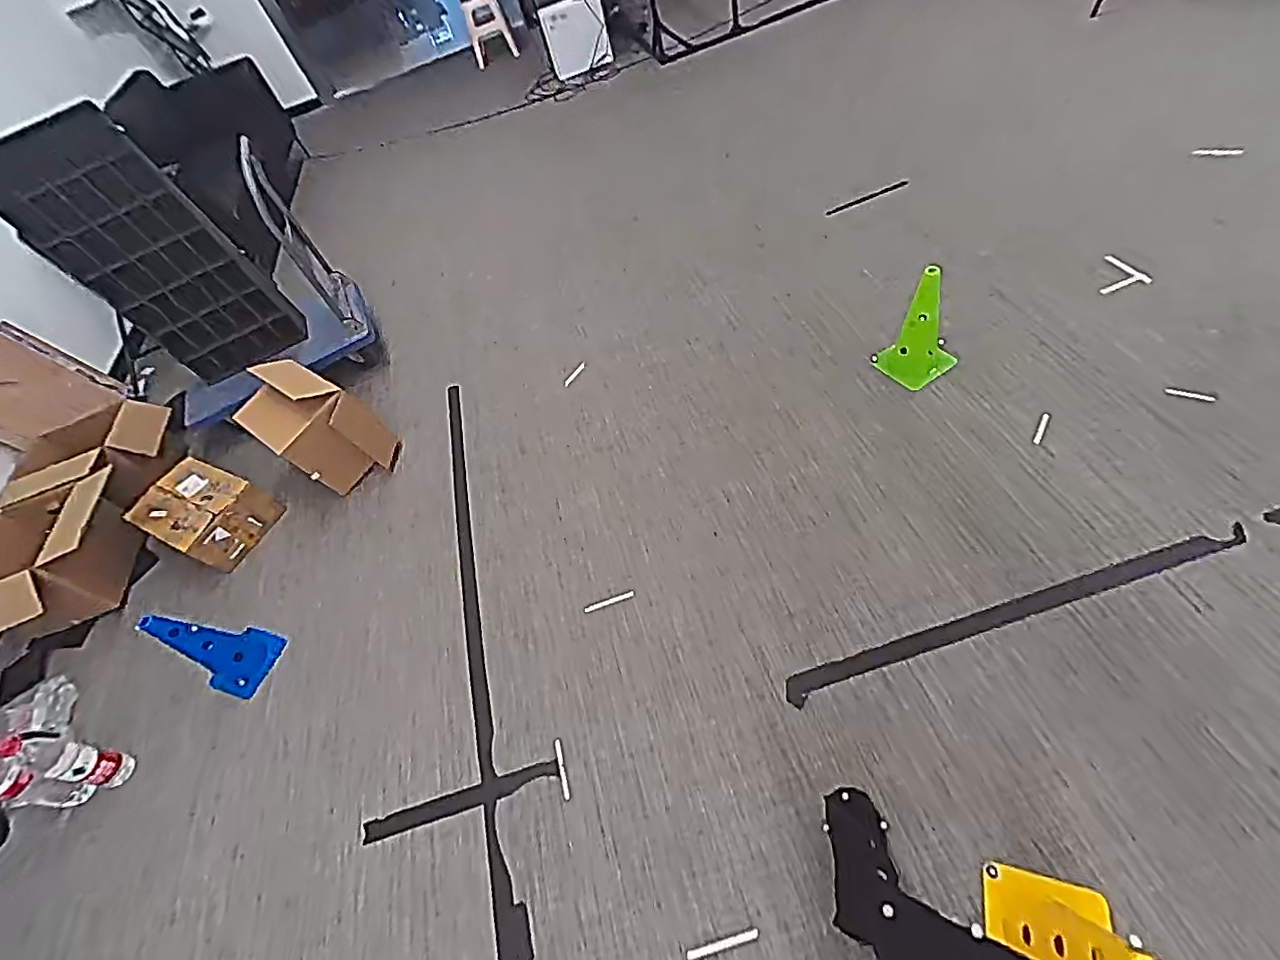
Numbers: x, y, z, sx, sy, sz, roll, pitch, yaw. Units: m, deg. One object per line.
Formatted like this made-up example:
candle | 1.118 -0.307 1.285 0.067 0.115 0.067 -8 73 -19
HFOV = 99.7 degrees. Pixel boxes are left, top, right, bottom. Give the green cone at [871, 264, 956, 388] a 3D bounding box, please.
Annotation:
green cone | 0.879 -0.498 1.679 0.202 0.368 0.200 -32 53 -9
